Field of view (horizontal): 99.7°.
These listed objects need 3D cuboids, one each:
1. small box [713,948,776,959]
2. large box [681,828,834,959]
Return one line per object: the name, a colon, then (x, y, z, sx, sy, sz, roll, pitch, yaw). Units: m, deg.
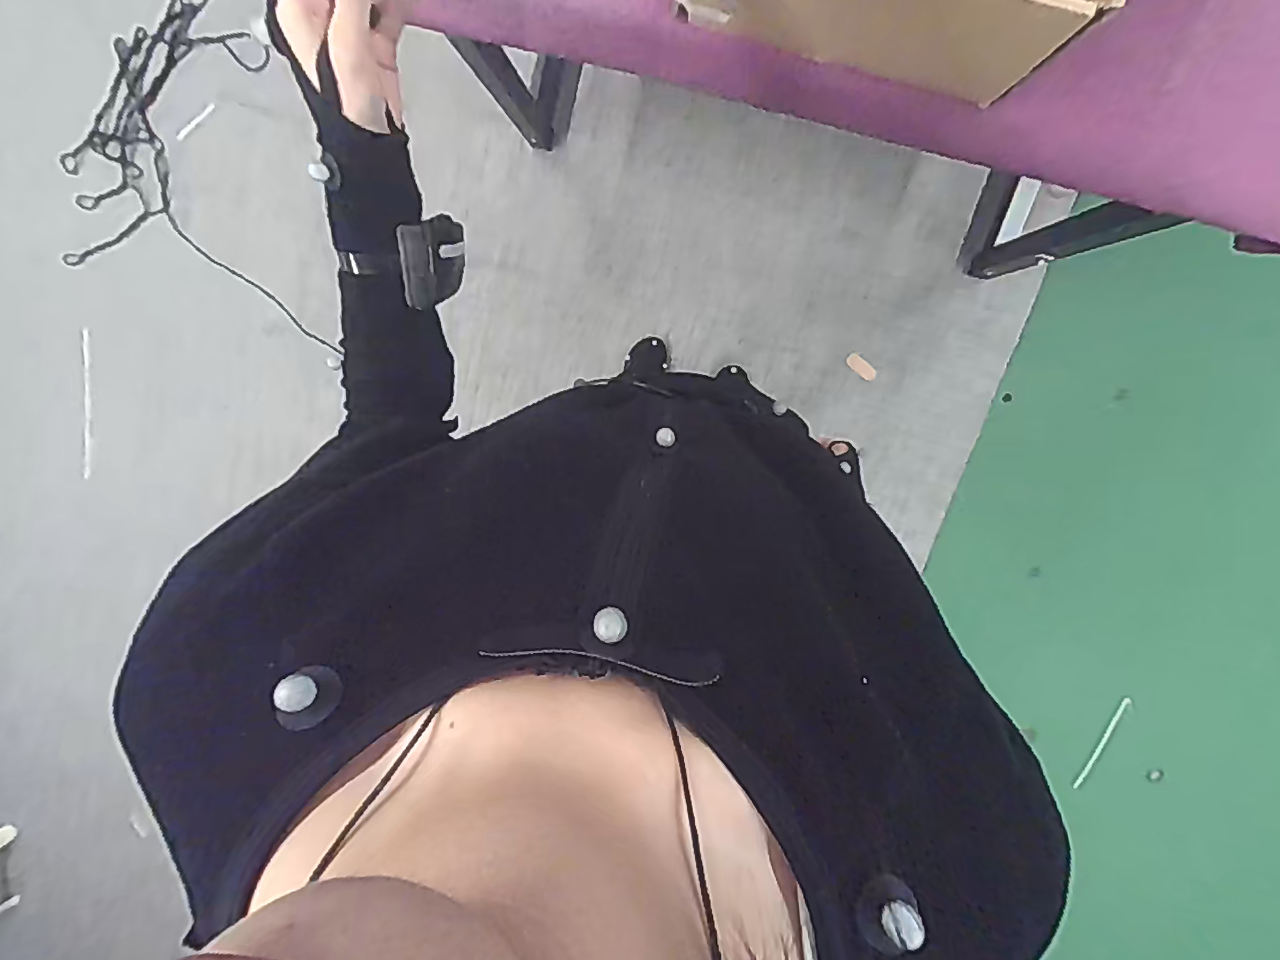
small box: (0.272, 1.352, 1.379, 0.179, 0.176, 0.168, 5, 101, 5)
large box: (0.325, 1.302, 1.616, 0.408, 0.320, 0.320, 2, 103, 5)
